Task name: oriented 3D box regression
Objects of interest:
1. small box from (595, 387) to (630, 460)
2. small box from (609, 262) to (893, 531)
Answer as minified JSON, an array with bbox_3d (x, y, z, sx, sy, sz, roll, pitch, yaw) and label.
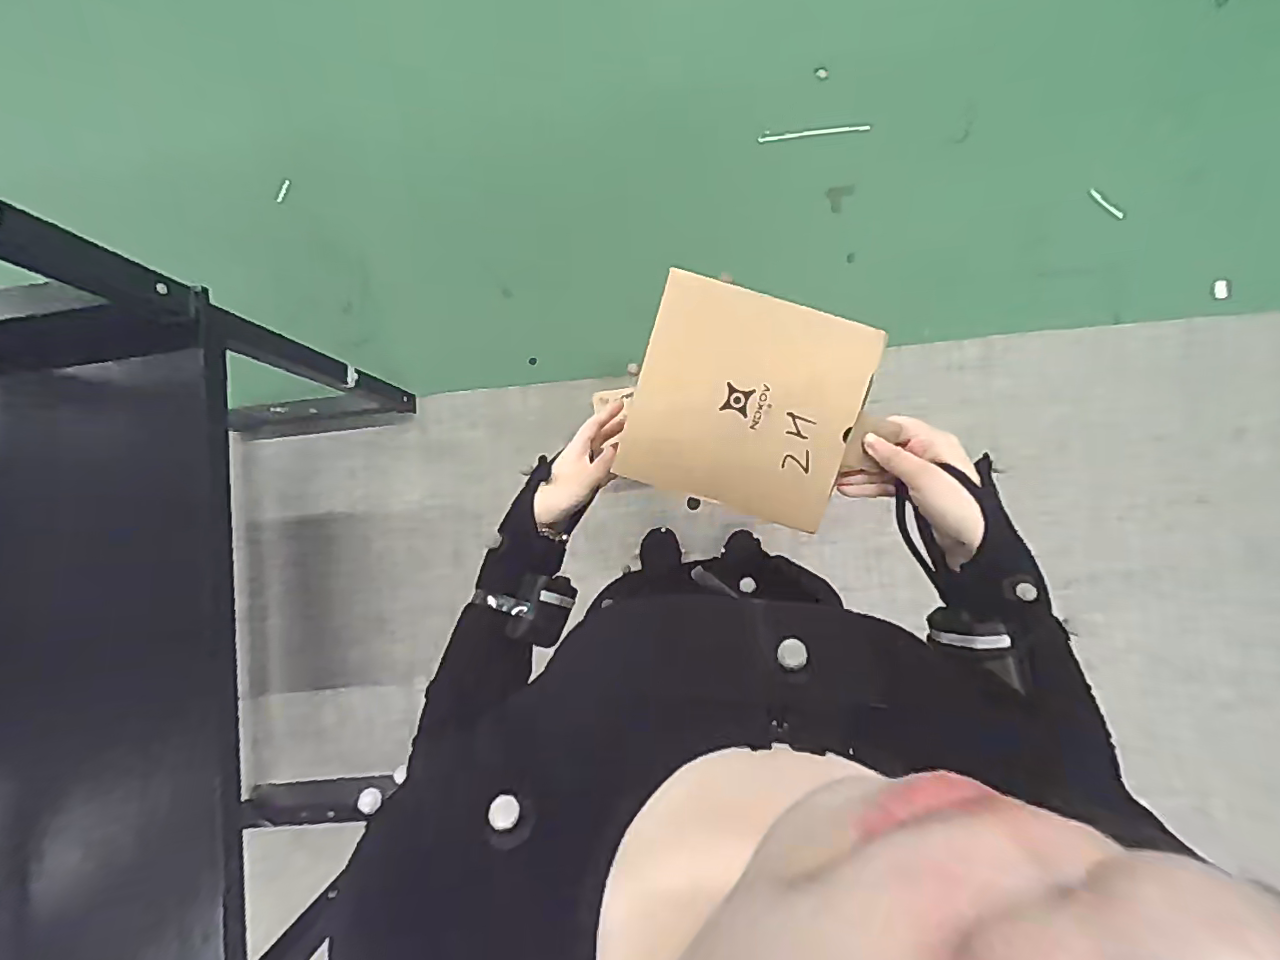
[{"bbox_3d":[-0.018,-0.145,1.447,0.168,0.176,0.179,-7,86,5],"label":"small box"},{"bbox_3d":[0.084,-0.071,0.485,0.179,0.176,0.168,16,99,-1],"label":"small box"}]
